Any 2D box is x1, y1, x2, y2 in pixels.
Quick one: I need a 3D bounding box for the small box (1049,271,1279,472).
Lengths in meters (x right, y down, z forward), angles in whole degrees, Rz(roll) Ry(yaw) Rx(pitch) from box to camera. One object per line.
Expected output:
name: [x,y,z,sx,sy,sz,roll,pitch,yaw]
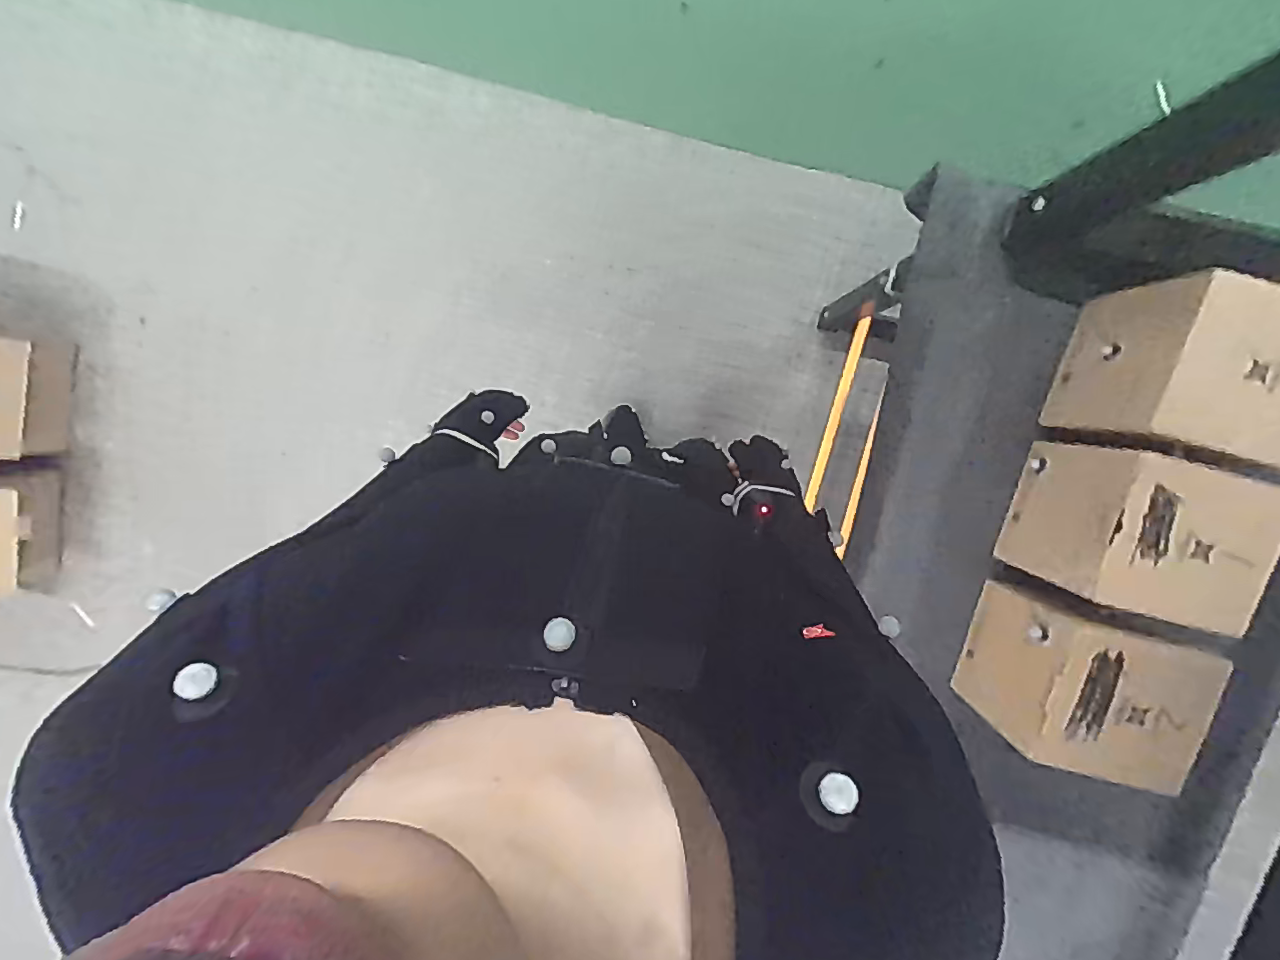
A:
small box: [0.624,-0.115,0.613,0.179,0.176,0.168,16,100,-1]
